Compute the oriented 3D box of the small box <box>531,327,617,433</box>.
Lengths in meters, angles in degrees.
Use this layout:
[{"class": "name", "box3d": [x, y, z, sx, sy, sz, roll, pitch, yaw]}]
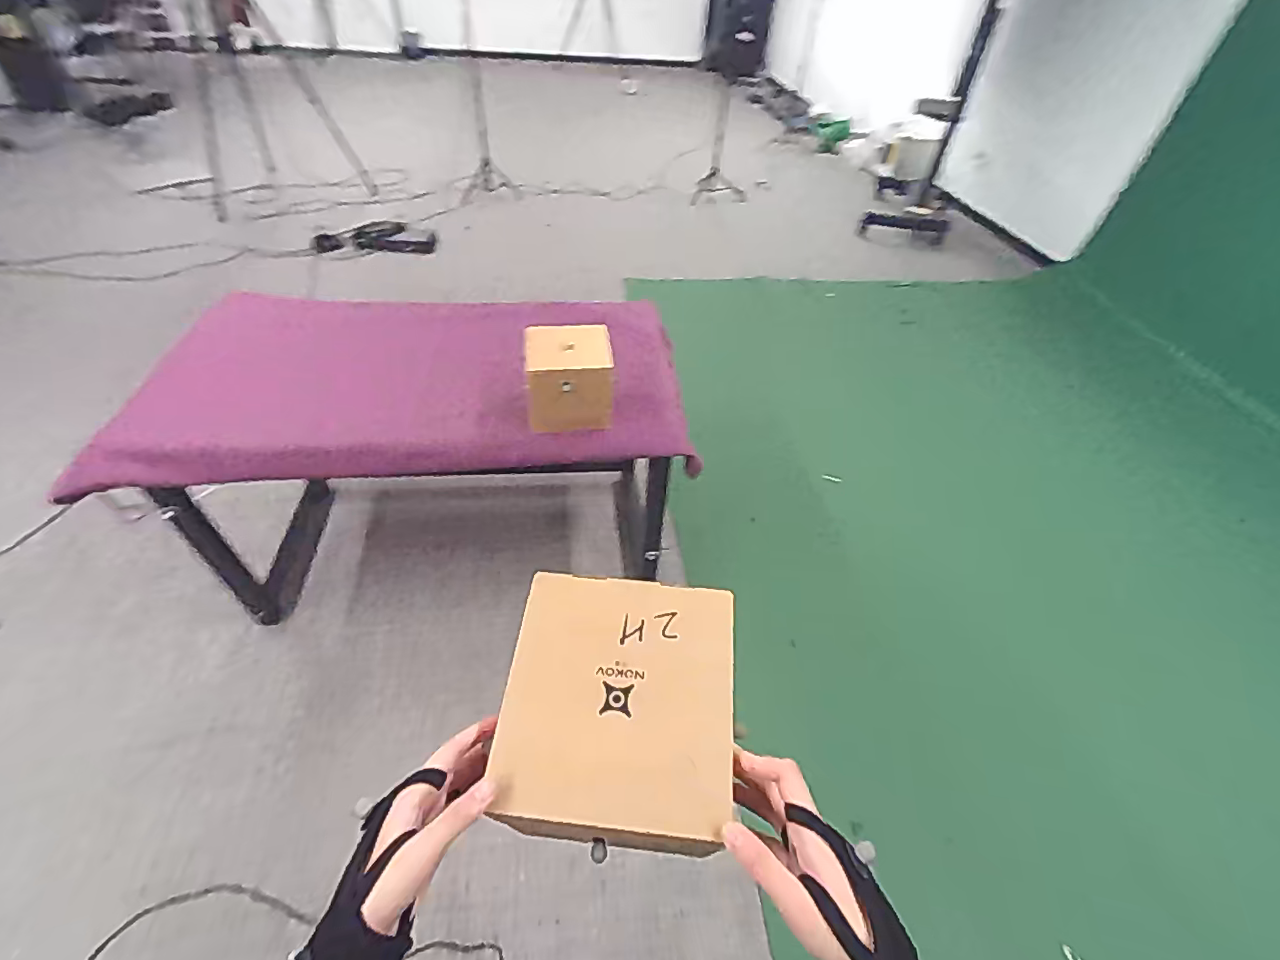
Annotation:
[{"class": "small box", "box3d": [-0.147, -0.221, 1.200, 0.179, 0.176, 0.168, -5, 47, -7]}]
